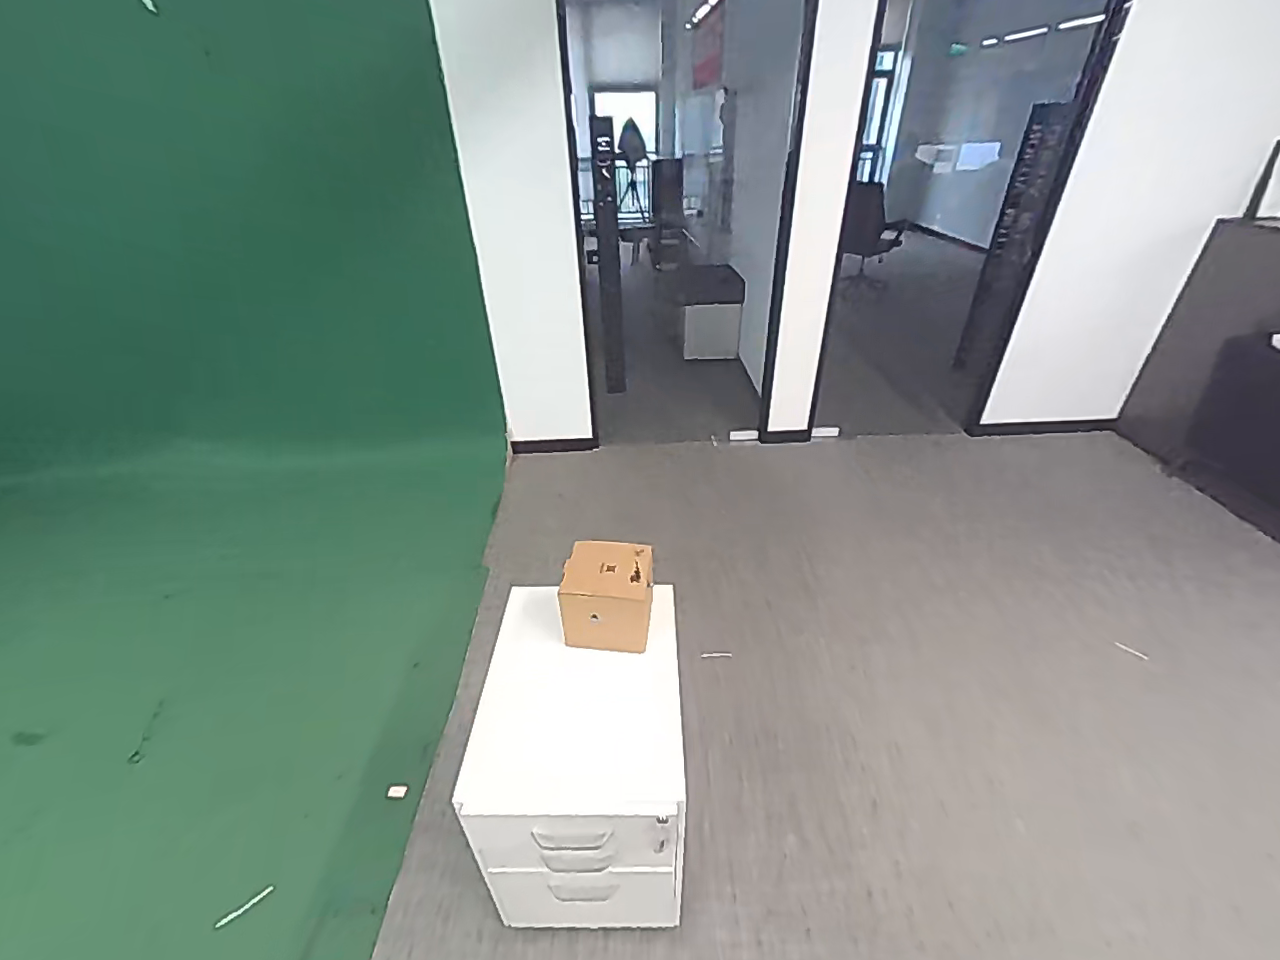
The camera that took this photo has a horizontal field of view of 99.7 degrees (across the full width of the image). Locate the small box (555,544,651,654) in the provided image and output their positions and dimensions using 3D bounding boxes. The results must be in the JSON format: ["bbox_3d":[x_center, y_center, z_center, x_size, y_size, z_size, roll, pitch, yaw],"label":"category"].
[{"bbox_3d":[-0.072,0.260,1.180,0.179,0.176,0.168,3,34,7],"label":"small box"}]
